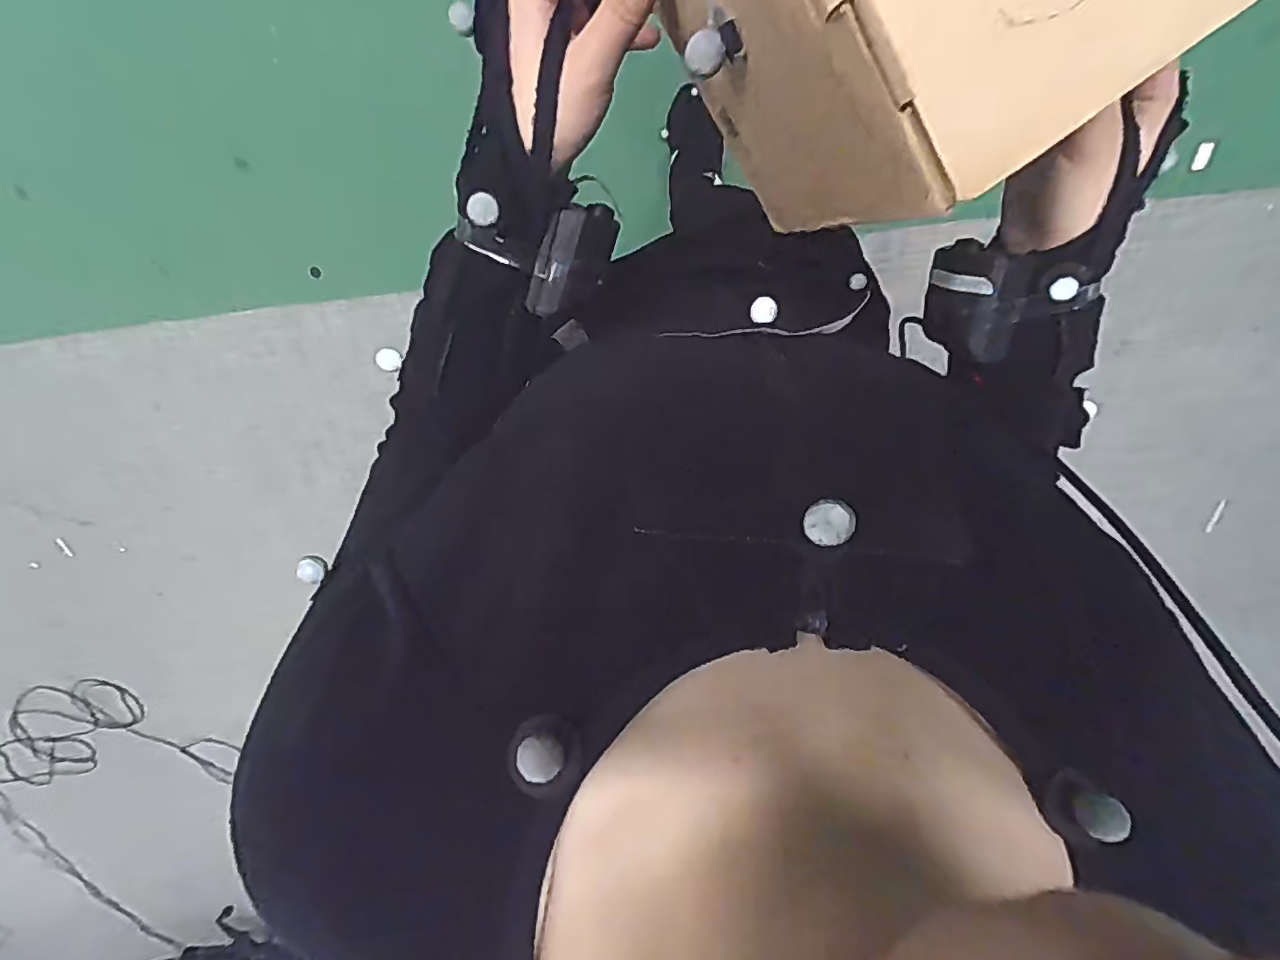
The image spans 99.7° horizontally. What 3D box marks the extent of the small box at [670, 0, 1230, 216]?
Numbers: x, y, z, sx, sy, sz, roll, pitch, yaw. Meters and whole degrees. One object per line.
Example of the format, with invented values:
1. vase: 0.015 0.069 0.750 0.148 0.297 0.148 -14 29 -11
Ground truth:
1. small box: 0.104 -0.213 0.180 0.179 0.176 0.168 -34 110 12
